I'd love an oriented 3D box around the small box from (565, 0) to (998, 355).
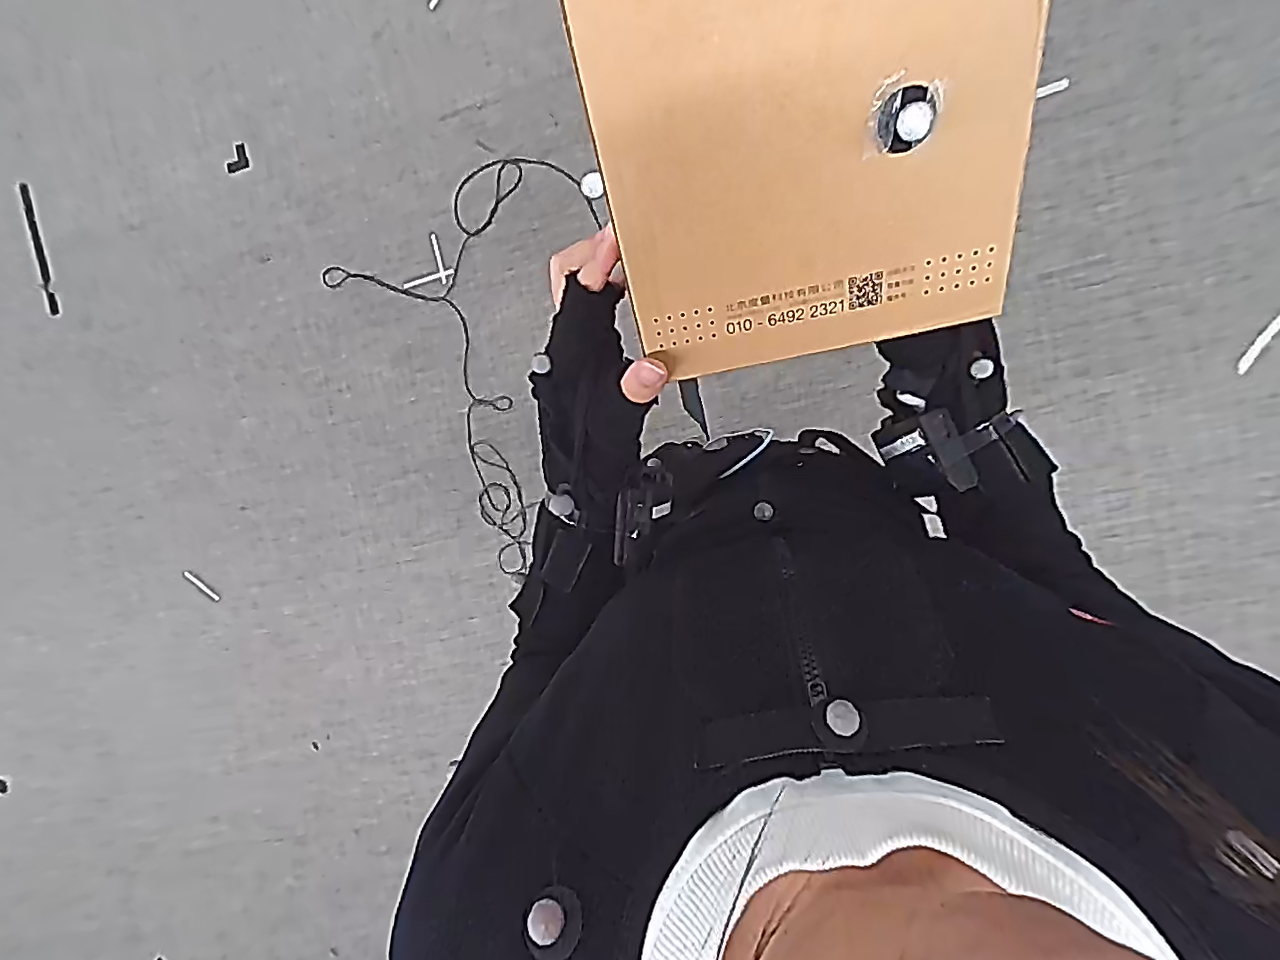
[{"bbox_3d":[0.072,-0.181,0.300,0.168,0.179,0.176,-9,124,9],"label":"small box"}]
